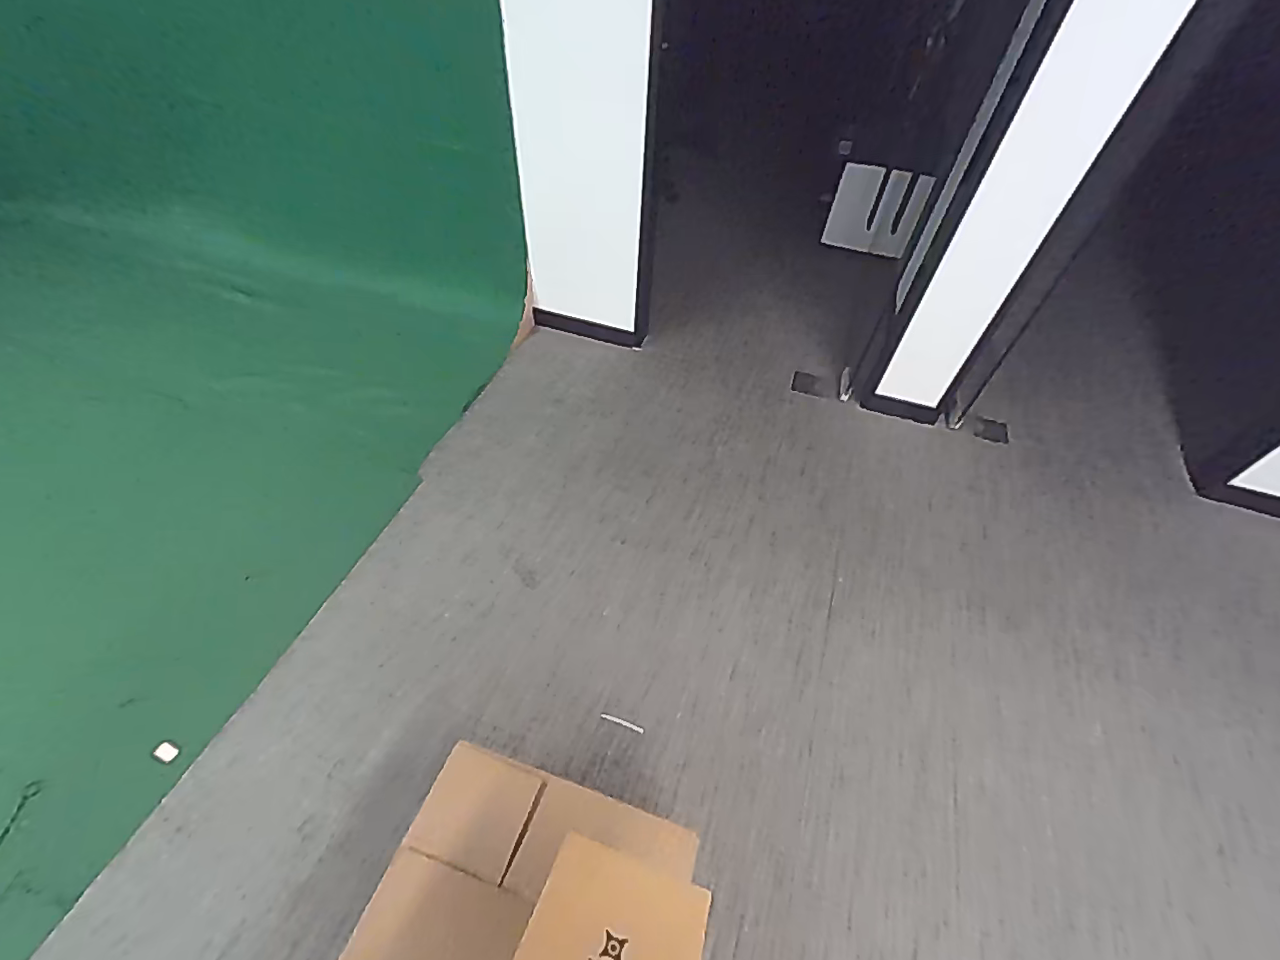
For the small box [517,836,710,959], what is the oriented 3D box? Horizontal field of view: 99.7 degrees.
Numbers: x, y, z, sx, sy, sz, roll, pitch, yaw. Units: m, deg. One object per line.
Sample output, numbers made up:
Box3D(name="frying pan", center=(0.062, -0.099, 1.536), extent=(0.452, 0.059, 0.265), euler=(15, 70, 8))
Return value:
Box3D(name="small box", center=(-0.041, 0.514, 0.536), extent=(0.168, 0.176, 0.179), euler=(17, 27, 10))
